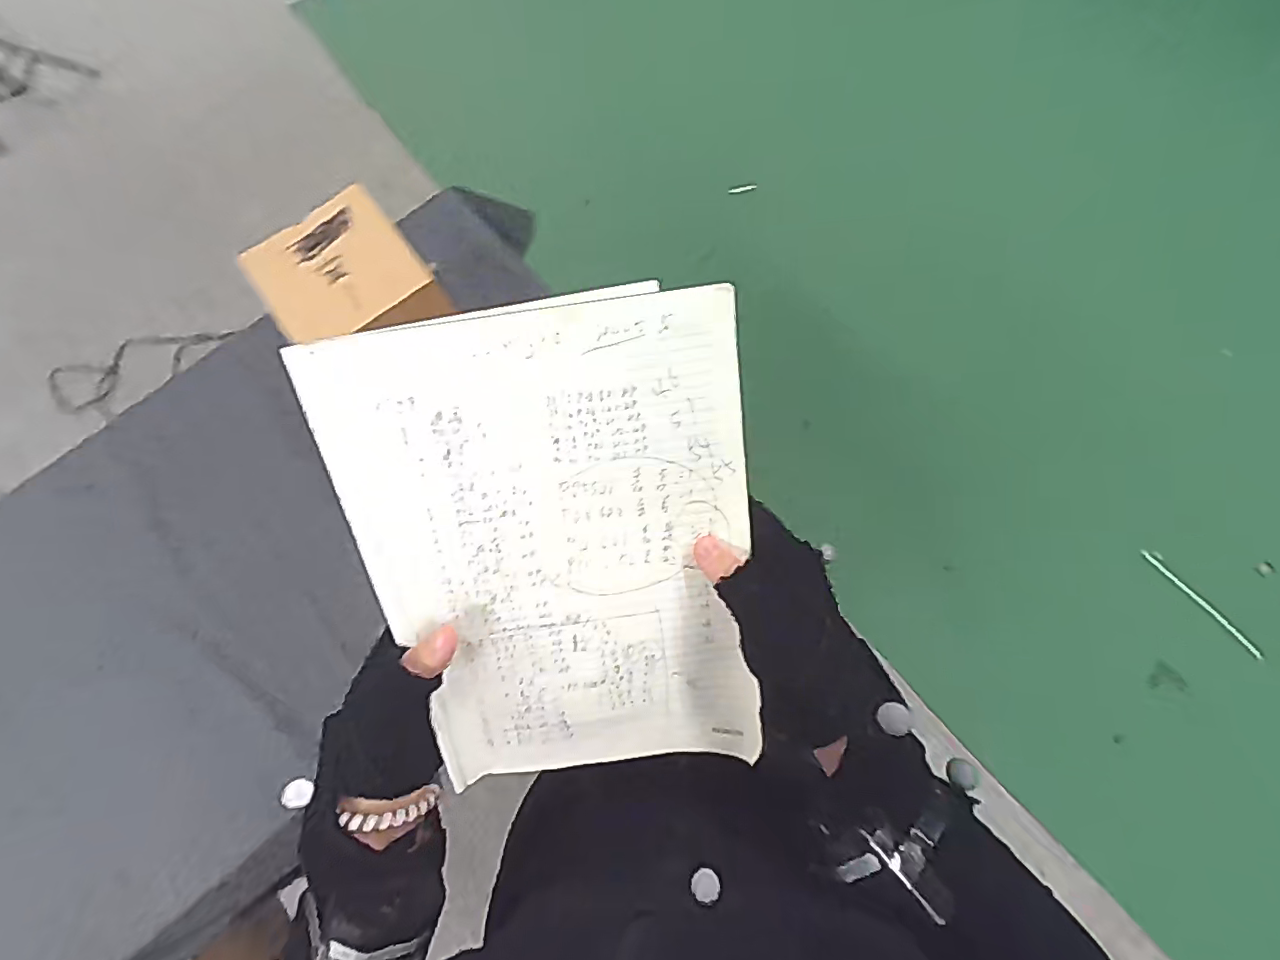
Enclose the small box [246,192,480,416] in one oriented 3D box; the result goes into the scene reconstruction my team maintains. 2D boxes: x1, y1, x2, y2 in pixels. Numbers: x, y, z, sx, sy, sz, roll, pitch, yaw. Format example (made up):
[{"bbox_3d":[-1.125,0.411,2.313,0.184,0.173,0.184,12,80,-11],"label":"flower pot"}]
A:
[{"bbox_3d":[-0.339,-0.213,0.693,0.168,0.176,0.179,-37,76,-6],"label":"small box"}]
